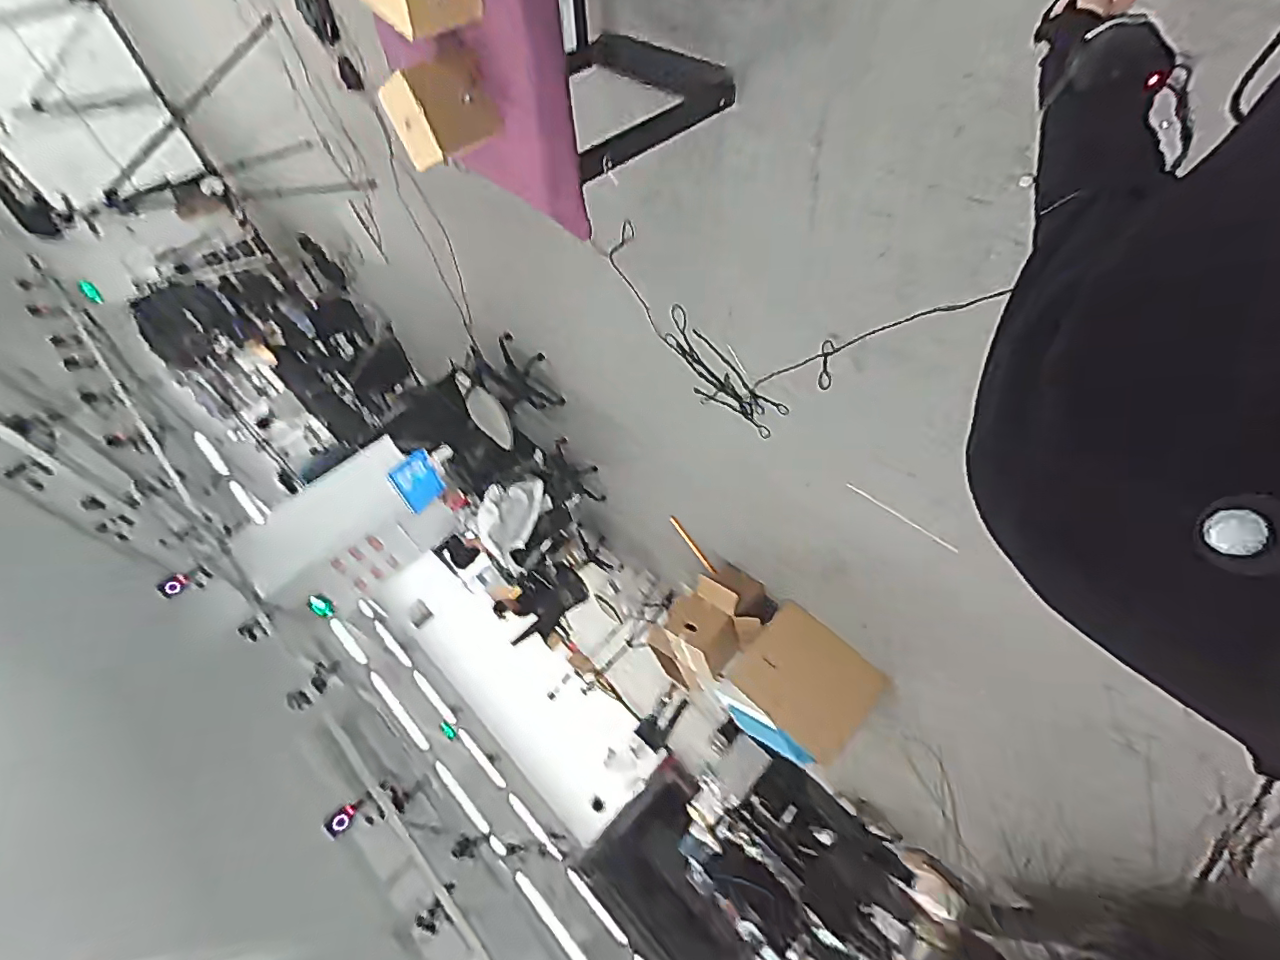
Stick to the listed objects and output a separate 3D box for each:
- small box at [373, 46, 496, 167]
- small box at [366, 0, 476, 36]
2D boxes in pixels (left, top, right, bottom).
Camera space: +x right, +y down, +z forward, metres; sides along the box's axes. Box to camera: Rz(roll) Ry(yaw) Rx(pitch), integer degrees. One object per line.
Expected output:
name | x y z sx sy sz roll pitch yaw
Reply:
small box | -0.457 -0.833 1.215 0.179 0.176 0.168 21 144 47
small box | -0.411 -0.953 0.968 0.179 0.176 0.168 44 156 12
